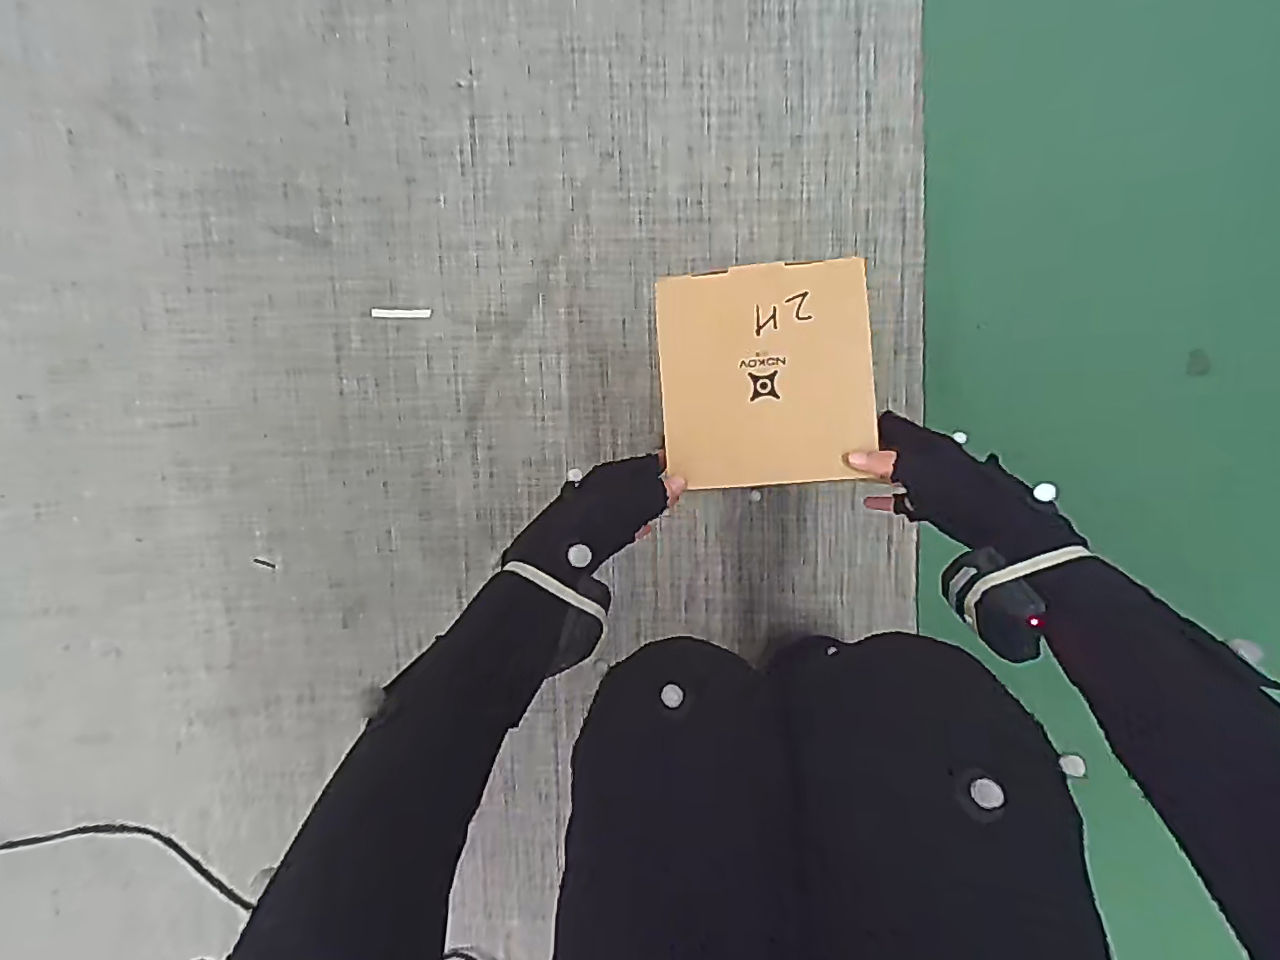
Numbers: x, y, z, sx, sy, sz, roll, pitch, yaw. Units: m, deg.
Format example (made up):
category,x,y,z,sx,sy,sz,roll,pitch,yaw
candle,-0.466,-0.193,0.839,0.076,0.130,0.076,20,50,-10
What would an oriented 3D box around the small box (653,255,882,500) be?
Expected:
category,x,y,z,sx,sy,sz,roll,pitch,yaw
small box,0.114,-0.083,0.509,0.168,0.176,0.179,-7,92,10
